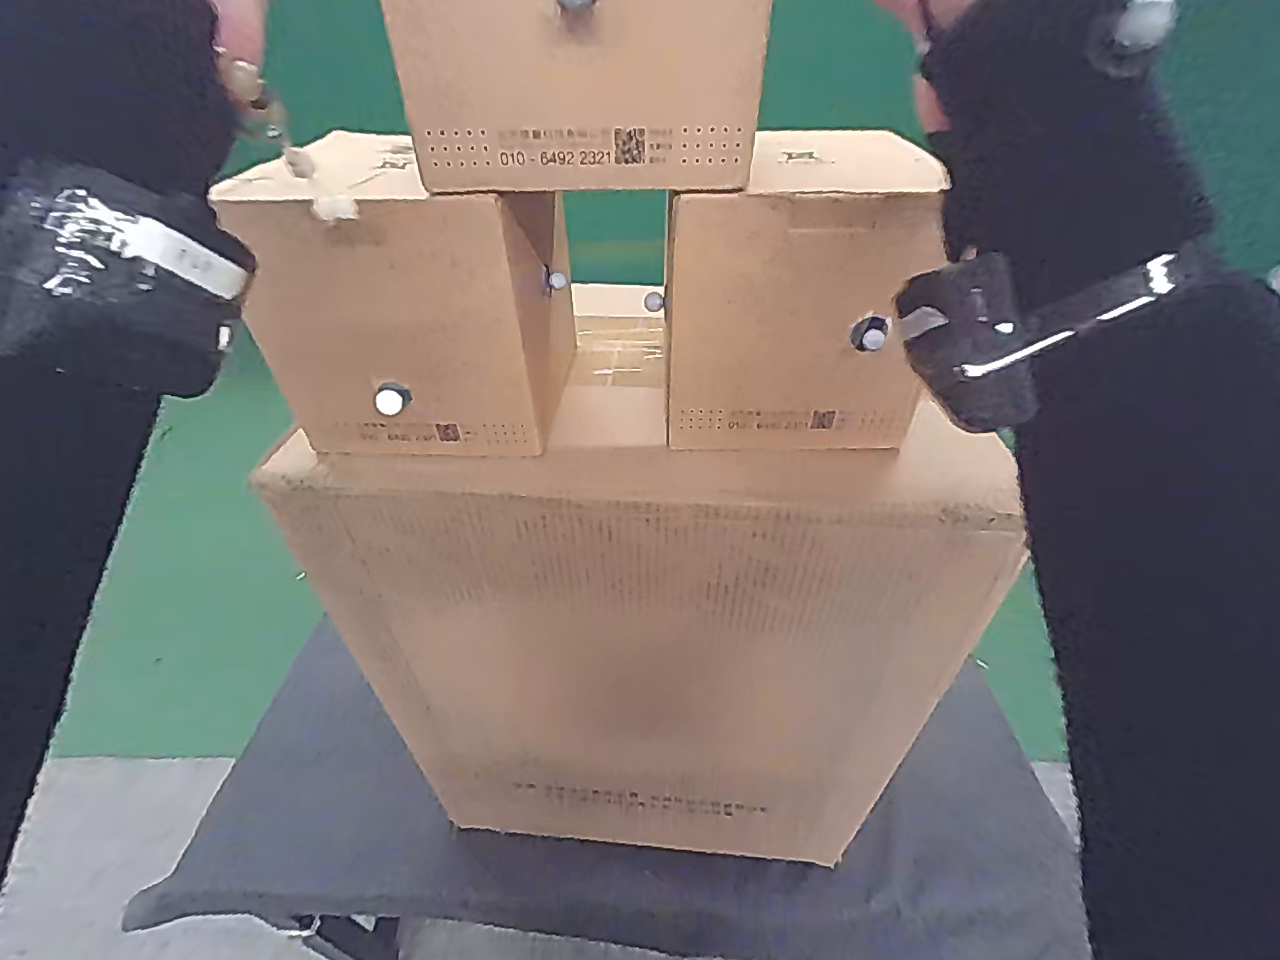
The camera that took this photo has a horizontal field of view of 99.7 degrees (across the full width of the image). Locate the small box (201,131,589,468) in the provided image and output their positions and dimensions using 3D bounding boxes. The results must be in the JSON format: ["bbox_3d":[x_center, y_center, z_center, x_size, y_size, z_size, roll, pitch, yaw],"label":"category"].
[{"bbox_3d":[-0.132,-0.130,0.378,0.168,0.176,0.179,3,42,5],"label":"small box"}]

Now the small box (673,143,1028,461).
[{"bbox_3d":[0.114,-0.127,0.385,0.168,0.176,0.179,1,41,-2],"label":"small box"}]
